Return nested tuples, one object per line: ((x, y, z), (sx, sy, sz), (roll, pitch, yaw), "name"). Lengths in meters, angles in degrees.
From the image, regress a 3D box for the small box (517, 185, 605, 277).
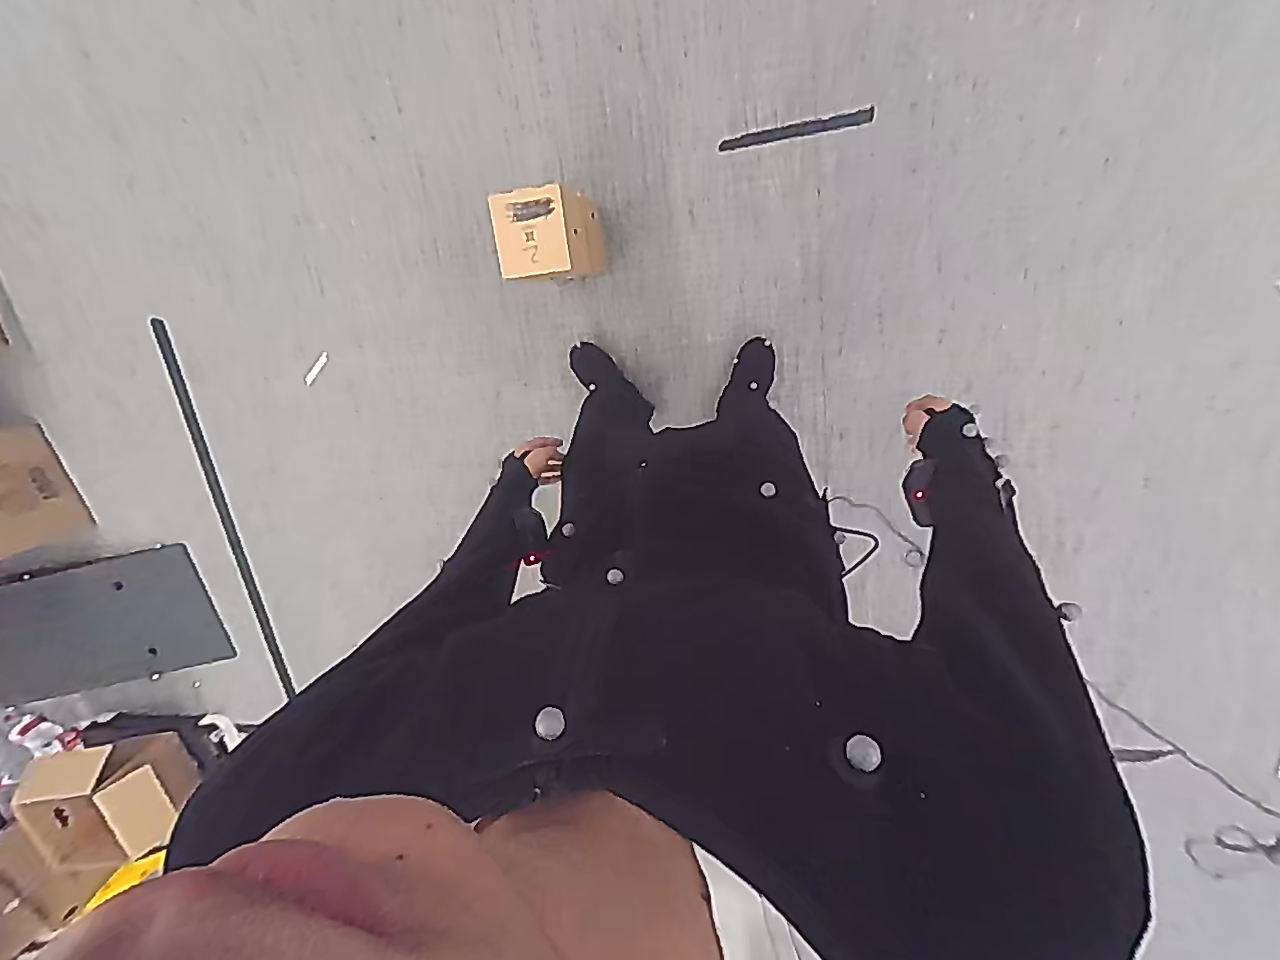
((-0.196, -0.630, 1.390), (0.168, 0.176, 0.179), (-6, 106, 12), "small box")
